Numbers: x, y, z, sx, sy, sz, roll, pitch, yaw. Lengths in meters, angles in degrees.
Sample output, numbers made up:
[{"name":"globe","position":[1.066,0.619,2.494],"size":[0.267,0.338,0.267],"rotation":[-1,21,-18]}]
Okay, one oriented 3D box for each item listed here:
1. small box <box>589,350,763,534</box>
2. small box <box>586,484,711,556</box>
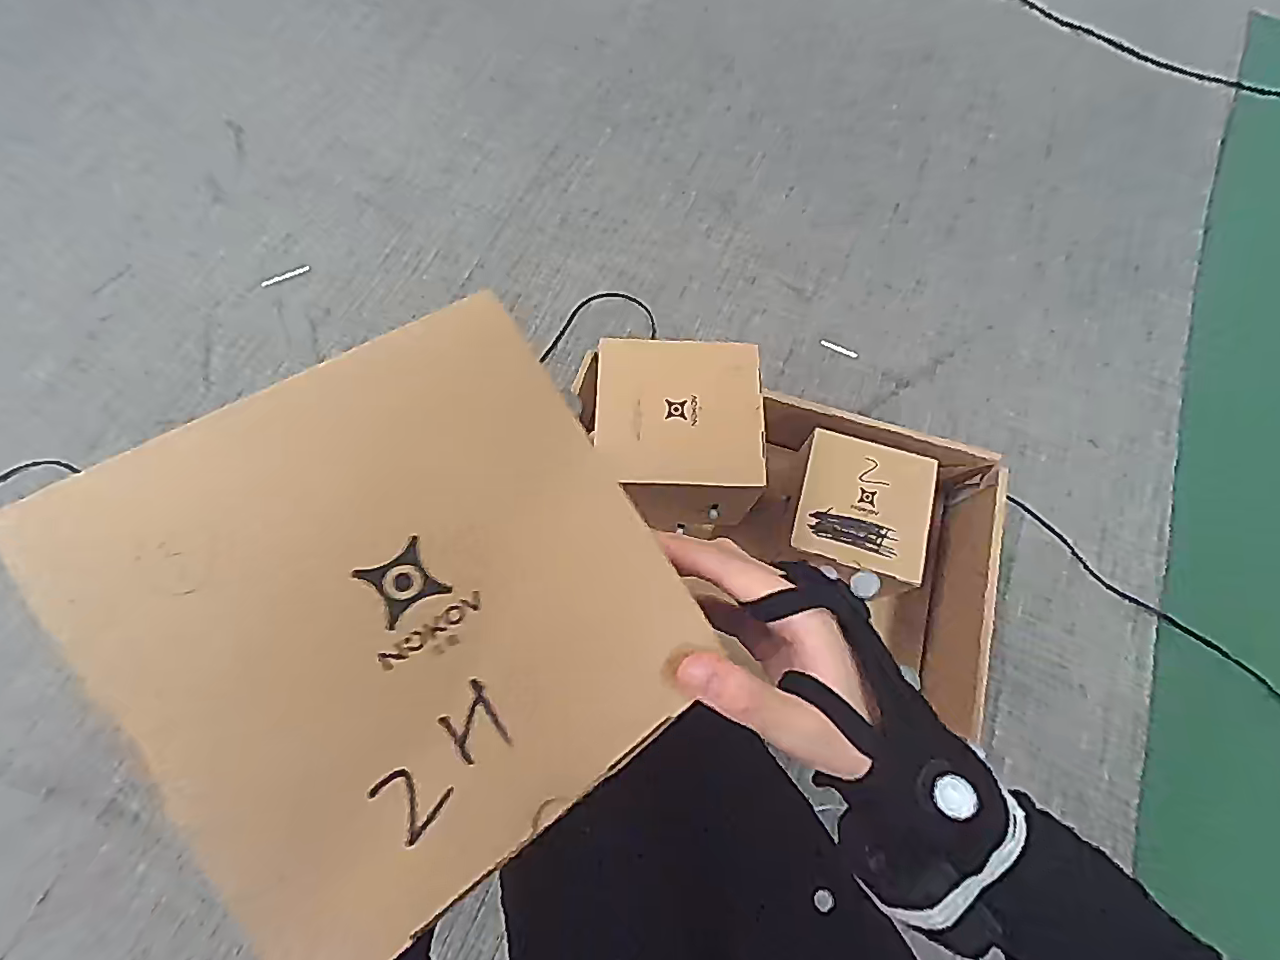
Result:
[{"name":"small box","position":[0.037,-0.035,0.636],"size":[0.179,0.176,0.168],"rotation":[2,71,1]},{"name":"small box","position":[0.034,0.001,0.795],"size":[0.179,0.176,0.168],"rotation":[18,72,5]}]
